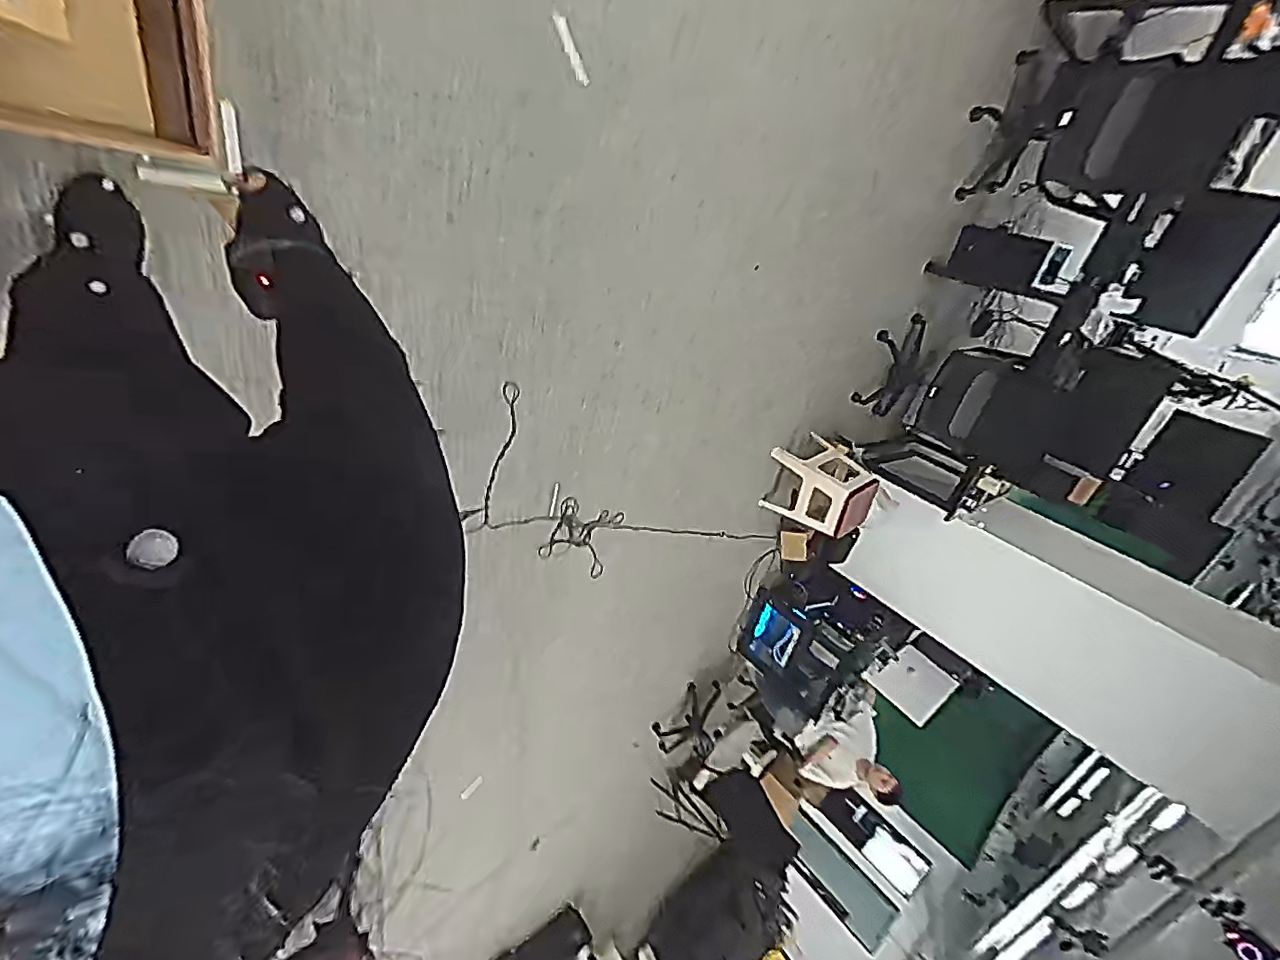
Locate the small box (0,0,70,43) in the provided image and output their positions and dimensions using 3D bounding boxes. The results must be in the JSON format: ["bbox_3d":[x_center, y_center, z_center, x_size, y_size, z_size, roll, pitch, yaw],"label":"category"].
[{"bbox_3d":[-0.841,-0.687,0.674,0.168,0.176,0.179,-5,123,-42],"label":"small box"}]
